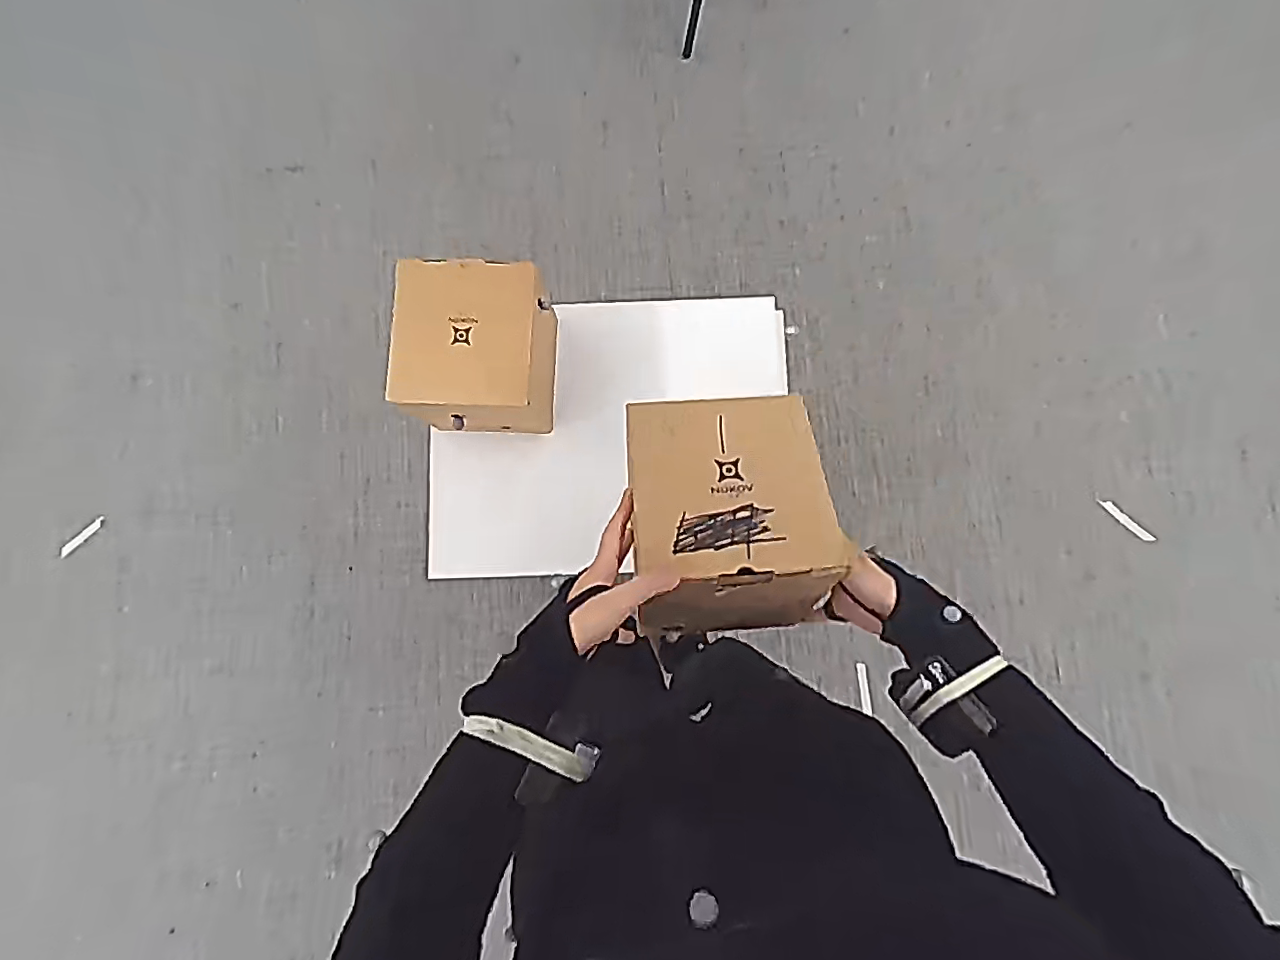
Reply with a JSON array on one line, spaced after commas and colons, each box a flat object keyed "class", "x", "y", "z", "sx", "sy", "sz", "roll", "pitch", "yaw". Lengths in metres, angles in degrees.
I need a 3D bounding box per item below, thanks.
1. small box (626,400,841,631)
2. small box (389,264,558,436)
[{"class": "small box", "x": 0.073, "y": 0.043, "z": 0.530, "sx": 0.168, "sy": 0.176, "sz": 0.179, "roll": -2, "pitch": 59, "yaw": -3}, {"class": "small box", "x": -0.203, "y": -0.157, "z": 0.706, "sx": 0.168, "sy": 0.176, "sz": 0.179, "roll": 2, "pitch": 83, "yaw": 0}]
